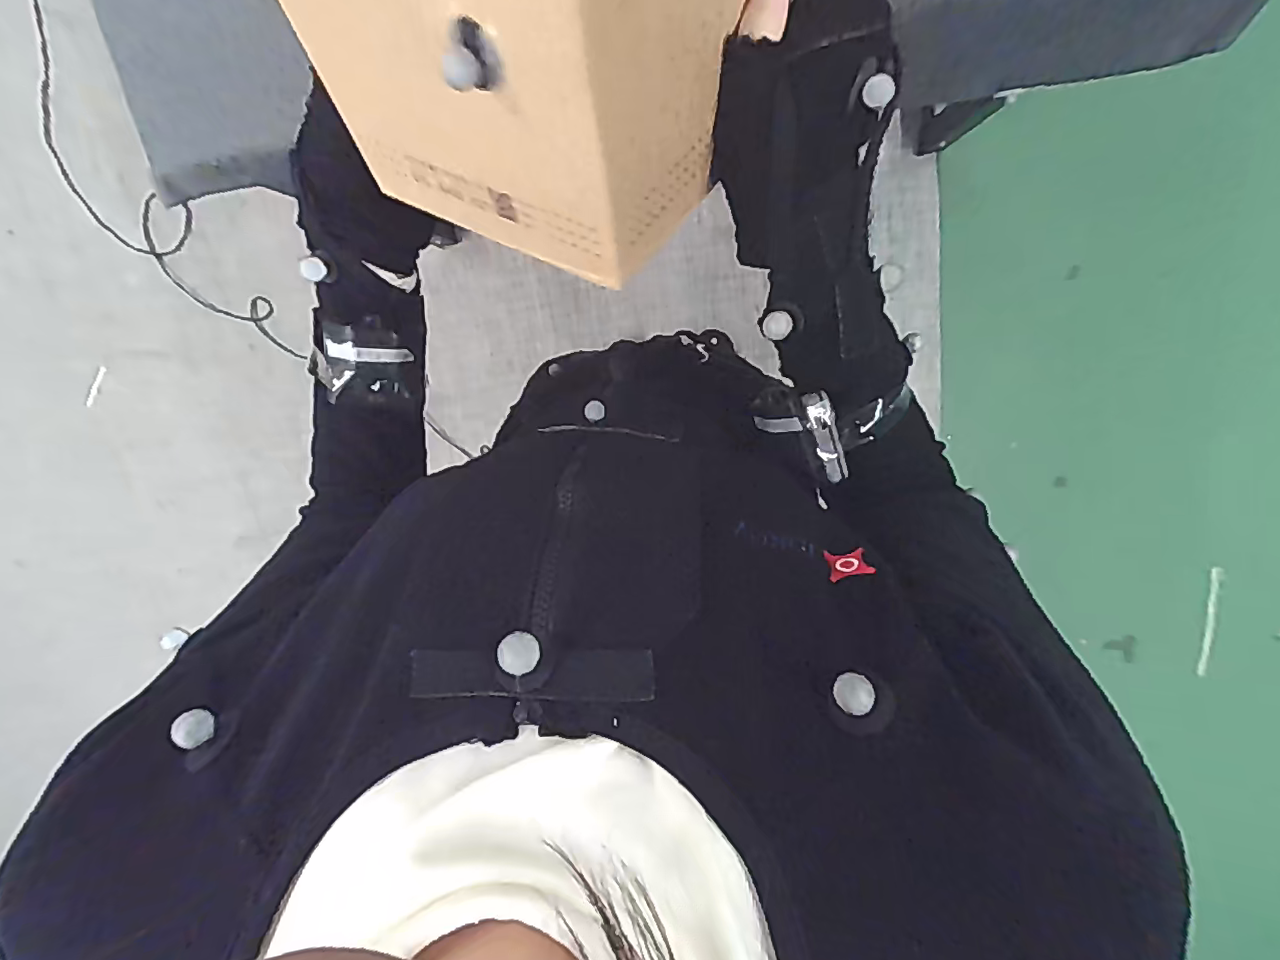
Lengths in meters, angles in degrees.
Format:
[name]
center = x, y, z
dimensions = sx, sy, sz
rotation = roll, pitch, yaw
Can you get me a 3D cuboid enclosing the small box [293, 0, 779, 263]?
[small box]
center = -0.038, -0.231, 0.237
dimensions = 0.168, 0.176, 0.179
rotation = 28, 68, 16
